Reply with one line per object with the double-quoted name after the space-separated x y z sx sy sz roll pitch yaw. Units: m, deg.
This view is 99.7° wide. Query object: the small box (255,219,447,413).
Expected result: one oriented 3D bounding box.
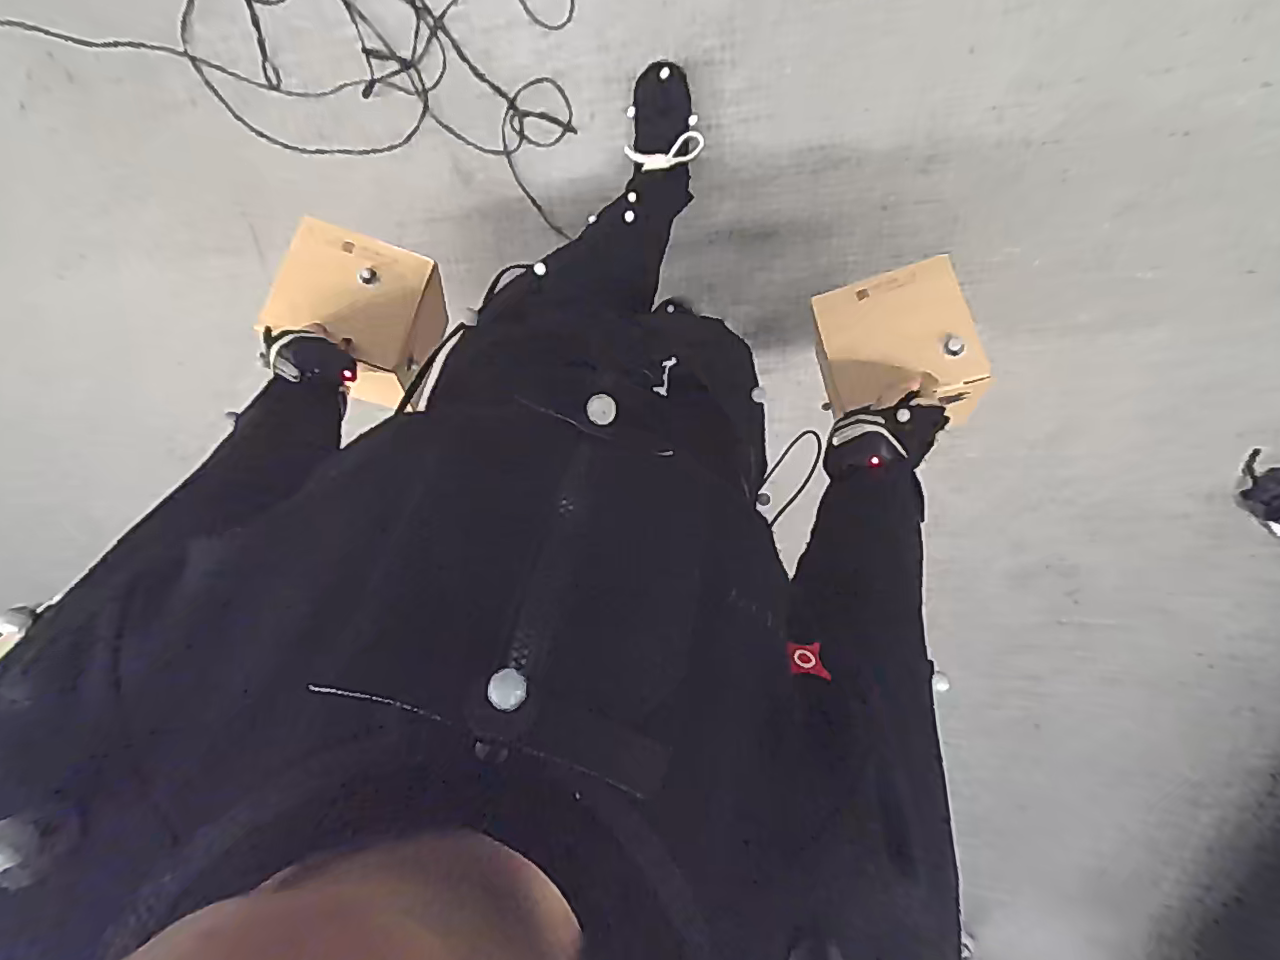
-0.382 -0.219 0.754 0.168 0.176 0.179 17 165 -10 "small box"
